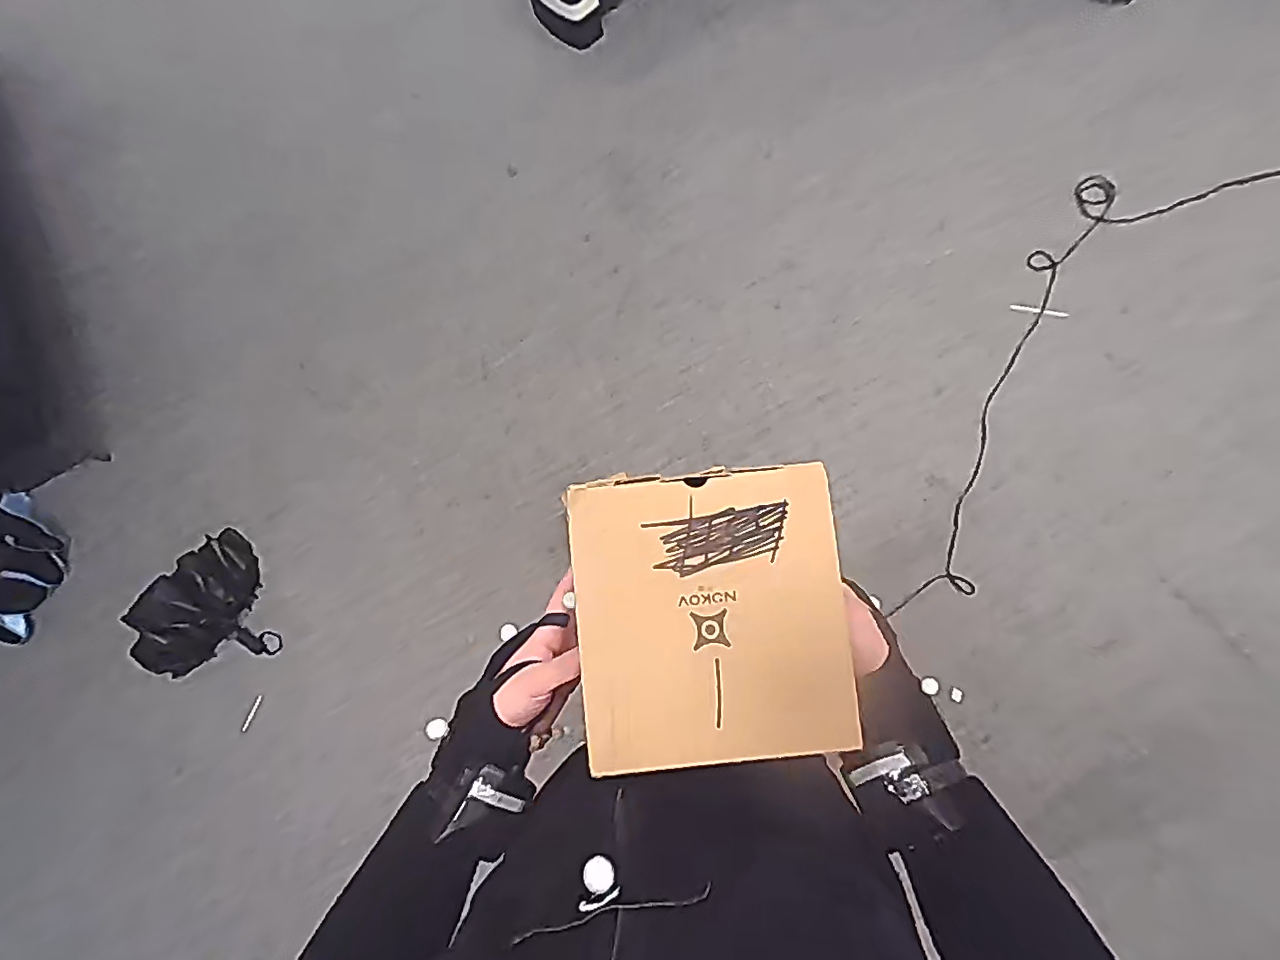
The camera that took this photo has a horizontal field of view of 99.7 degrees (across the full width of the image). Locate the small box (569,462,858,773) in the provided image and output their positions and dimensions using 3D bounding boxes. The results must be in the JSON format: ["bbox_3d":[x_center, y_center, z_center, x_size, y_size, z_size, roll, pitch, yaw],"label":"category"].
[{"bbox_3d":[0.042,0.089,0.409,0.168,0.176,0.179,-6,85,0],"label":"small box"}]
